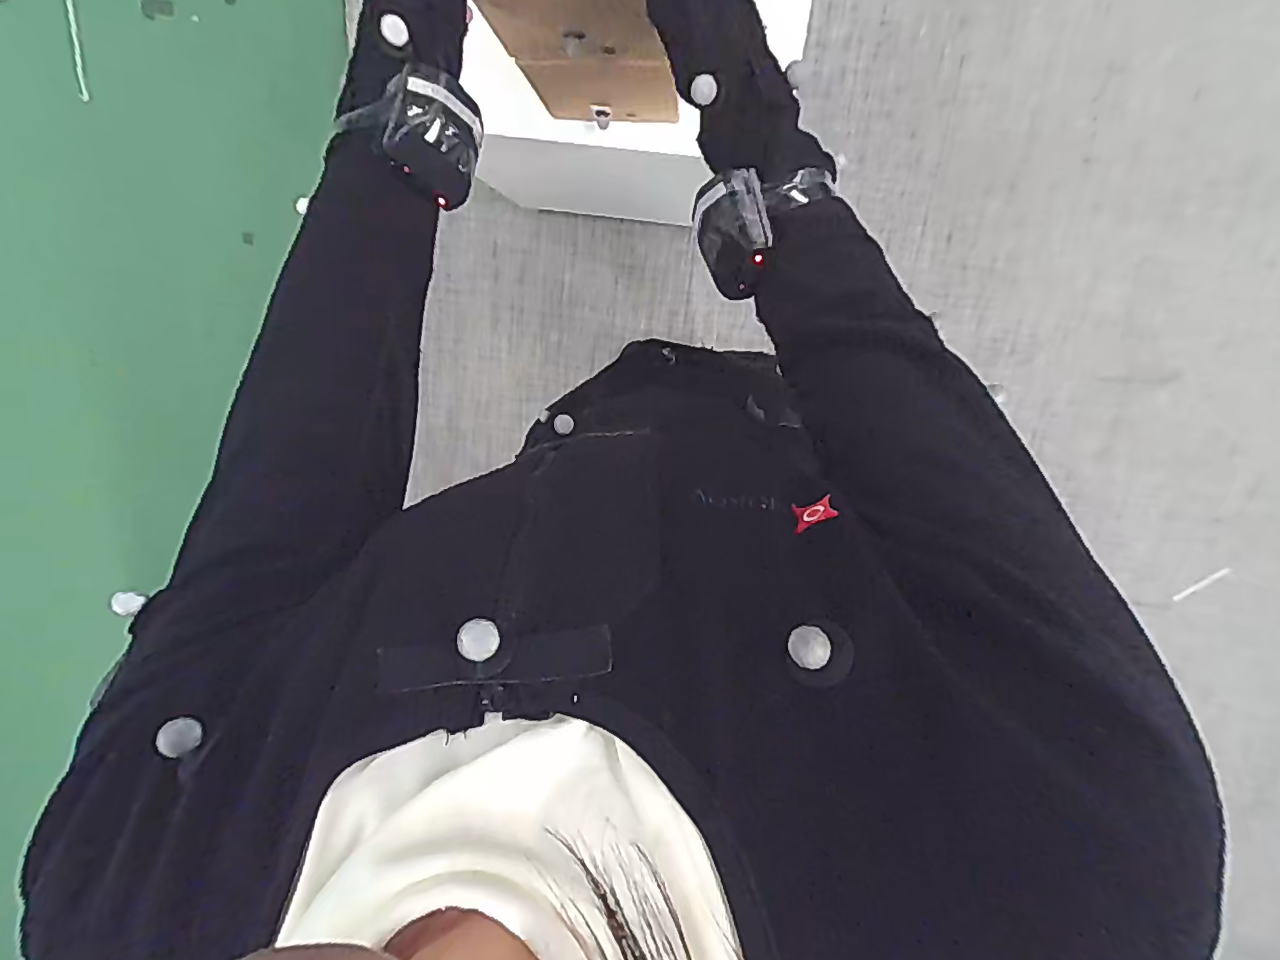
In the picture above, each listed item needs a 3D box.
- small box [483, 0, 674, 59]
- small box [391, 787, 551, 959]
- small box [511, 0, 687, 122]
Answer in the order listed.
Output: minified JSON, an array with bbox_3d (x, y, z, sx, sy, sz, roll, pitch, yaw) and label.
[{"bbox_3d":[-0.056,-0.477,0.428,0.168,0.176,0.179,2,105,6],"label":"small box"},{"bbox_3d":[-0.238,0.587,0.791,0.179,0.176,0.168,10,108,3],"label":"small box"},{"bbox_3d":[-0.036,-0.518,0.586,0.168,0.176,0.179,4,108,6],"label":"small box"}]
